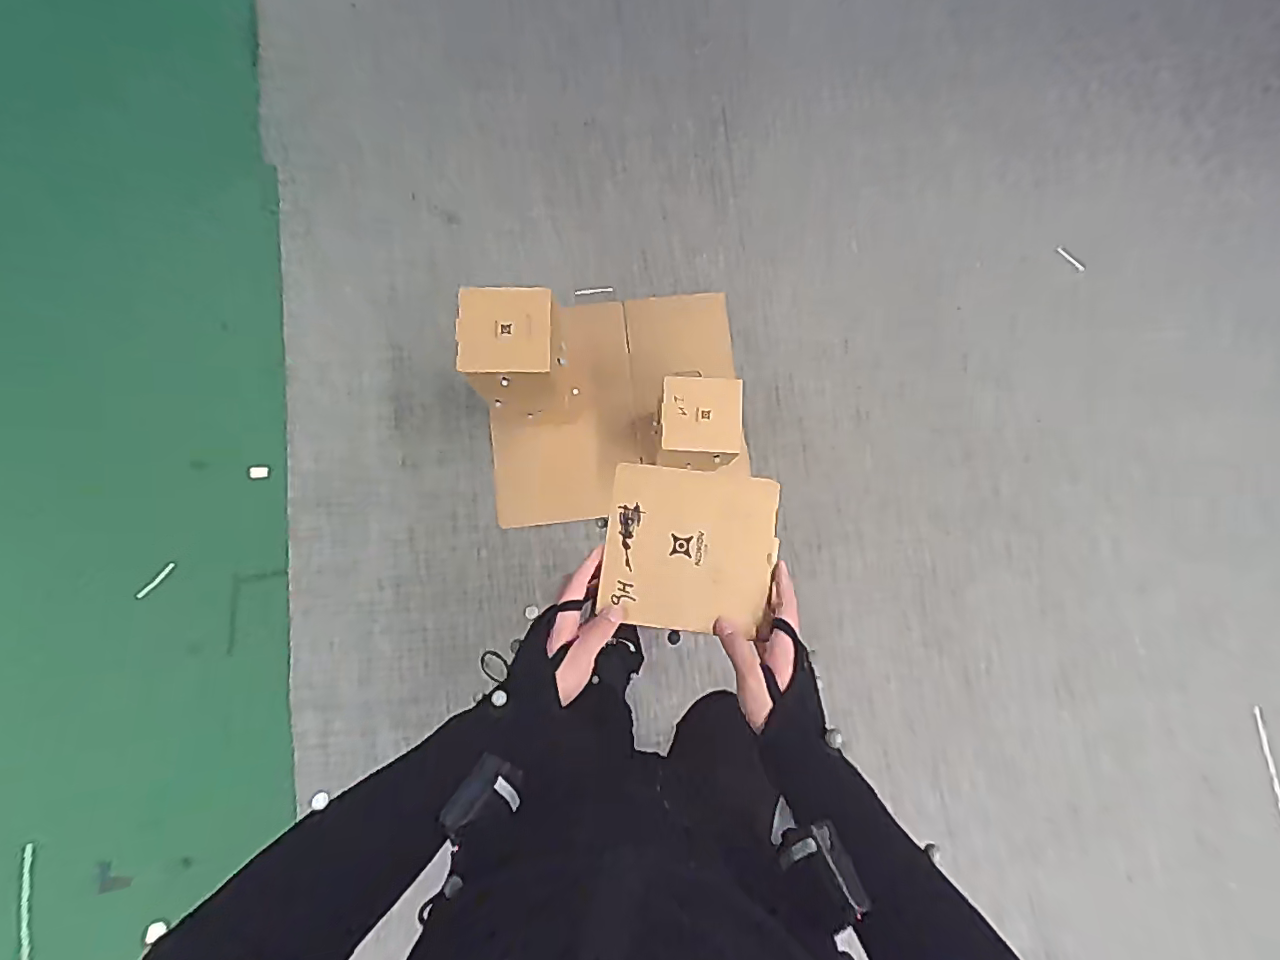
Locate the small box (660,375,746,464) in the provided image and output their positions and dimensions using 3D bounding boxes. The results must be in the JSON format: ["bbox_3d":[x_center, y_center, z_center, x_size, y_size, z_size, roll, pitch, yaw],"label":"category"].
[{"bbox_3d":[0.140,-0.133,1.245,0.179,0.176,0.168,3,83,1],"label":"small box"}]

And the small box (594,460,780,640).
[{"bbox_3d":[0.051,0.088,0.633,0.179,0.176,0.168,8,75,3],"label":"small box"}]

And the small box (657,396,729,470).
[{"bbox_3d":[0.137,-0.120,1.410,0.179,0.176,0.168,-1,83,0],"label":"small box"}]

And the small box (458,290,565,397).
[{"bbox_3d":[-0.251,-0.267,1.091,0.179,0.176,0.168,0,84,-1],"label":"small box"}]
